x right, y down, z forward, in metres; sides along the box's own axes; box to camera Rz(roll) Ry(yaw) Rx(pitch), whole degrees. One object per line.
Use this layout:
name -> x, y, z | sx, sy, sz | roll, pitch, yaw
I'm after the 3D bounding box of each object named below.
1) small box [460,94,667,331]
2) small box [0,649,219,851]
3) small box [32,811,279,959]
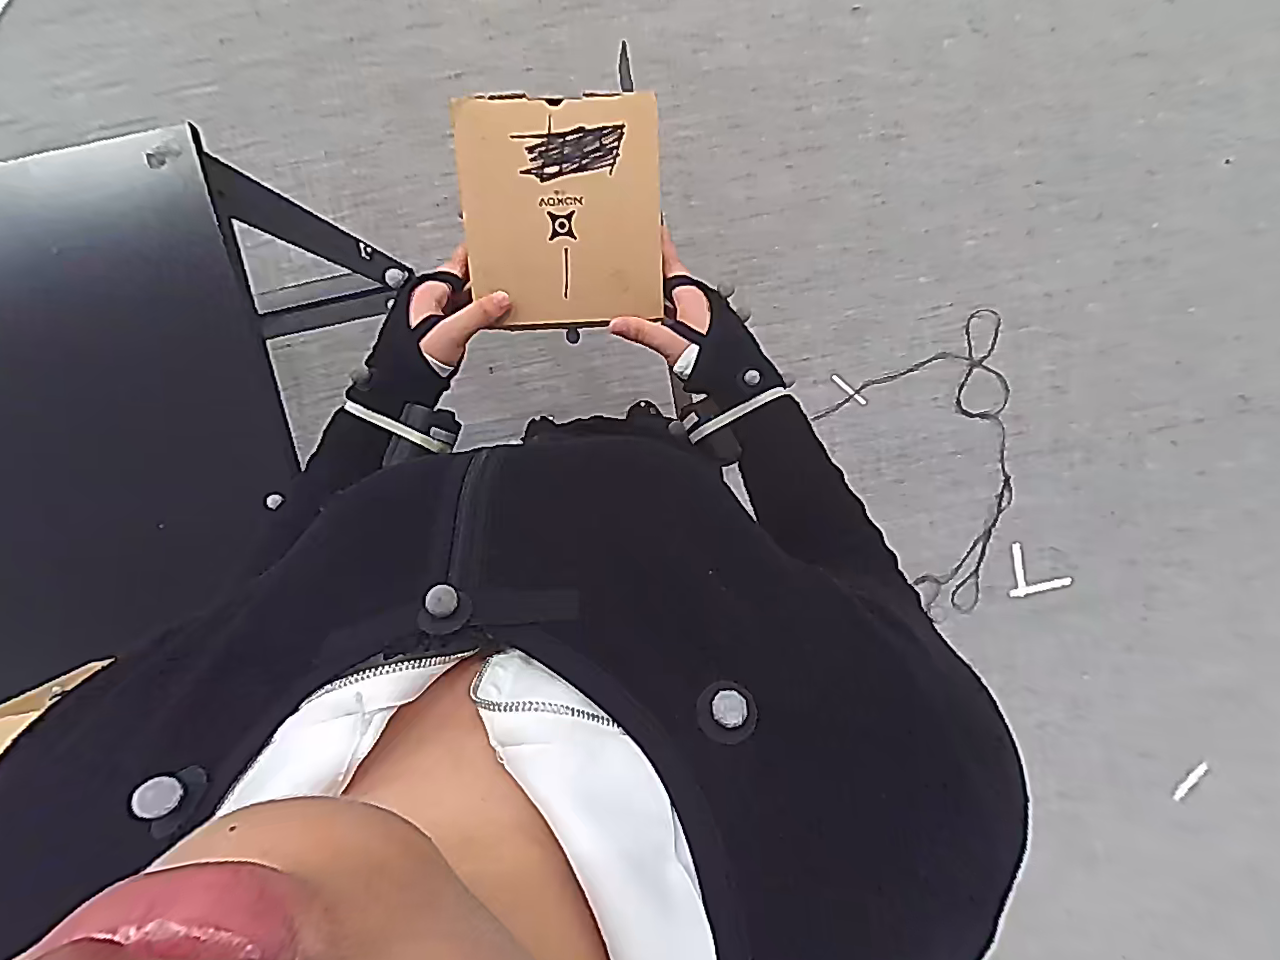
small box -> -0.065, -0.240, 0.526 | 0.168, 0.176, 0.179 | -3, 104, -3
small box -> -0.710, 0.344, 0.721 | 0.179, 0.176, 0.168 | -11, 97, 2
small box -> -0.652, 0.598, 0.753 | 0.168, 0.176, 0.179 | -13, 97, 2
